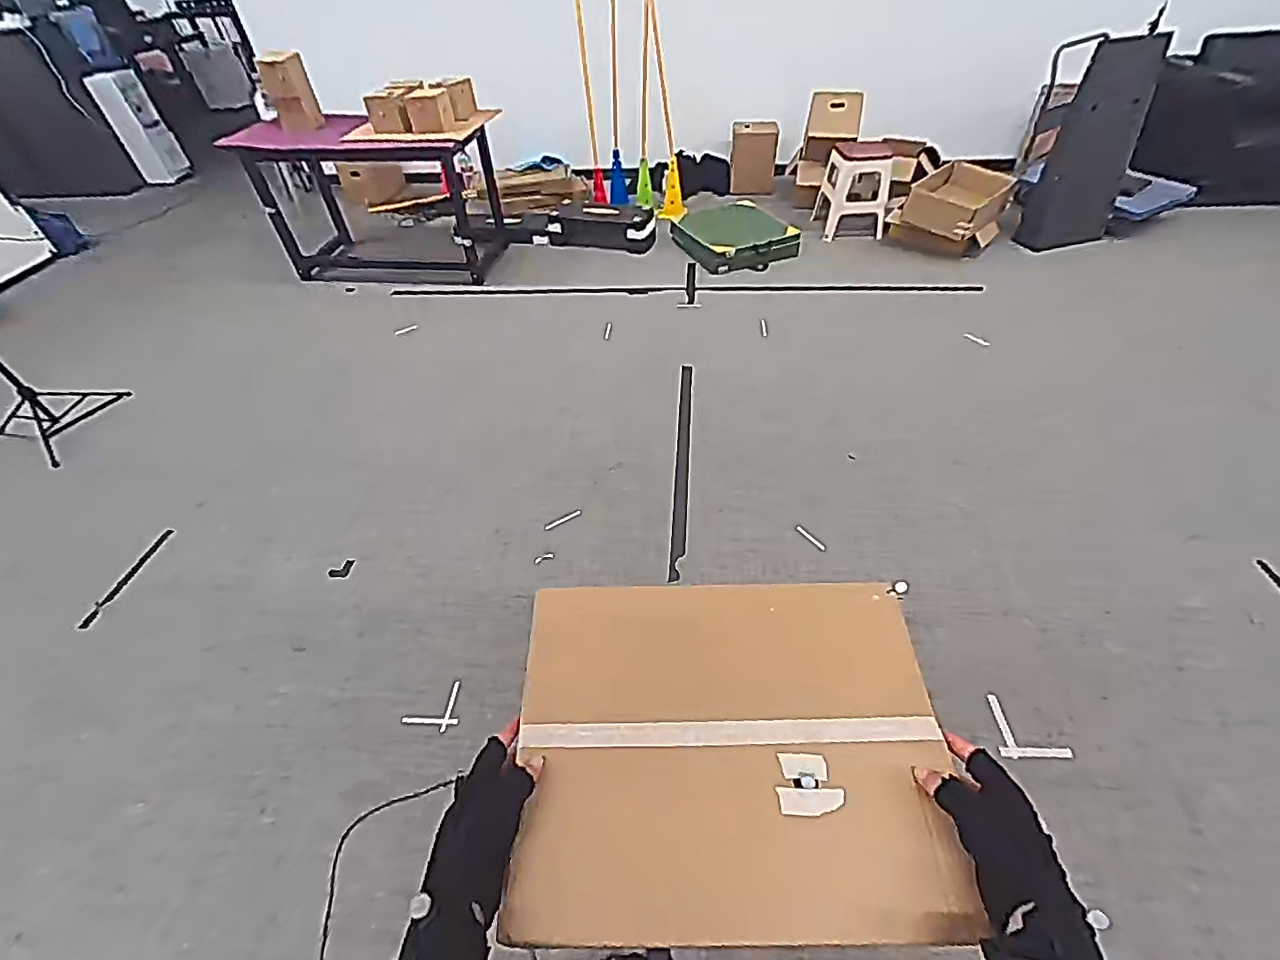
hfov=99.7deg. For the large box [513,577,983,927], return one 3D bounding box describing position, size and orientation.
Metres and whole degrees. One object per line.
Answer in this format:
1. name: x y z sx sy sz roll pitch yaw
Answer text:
1. large box: 0.089 0.330 0.656 0.408 0.320 0.320 -1 53 1
